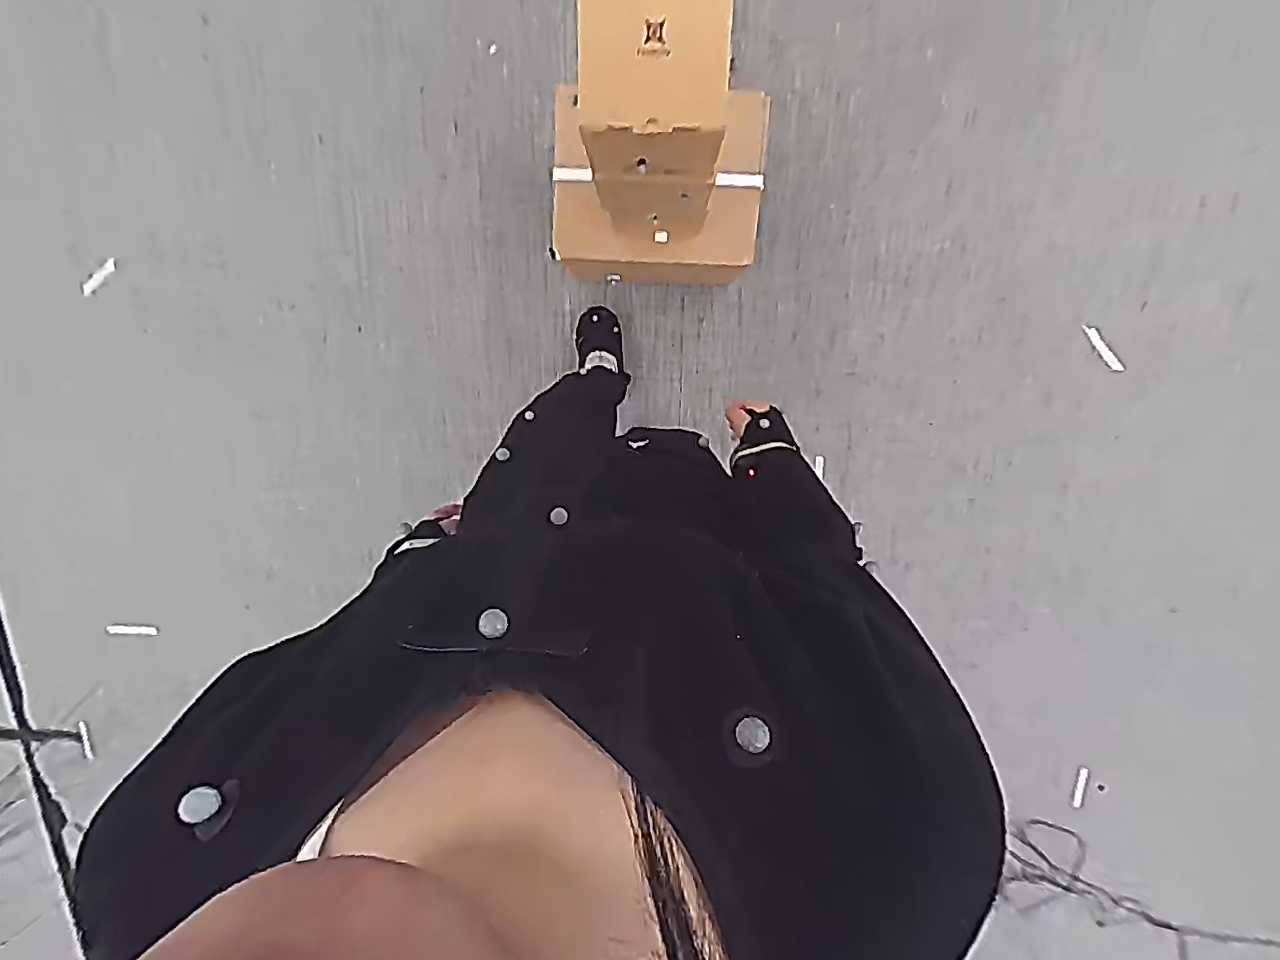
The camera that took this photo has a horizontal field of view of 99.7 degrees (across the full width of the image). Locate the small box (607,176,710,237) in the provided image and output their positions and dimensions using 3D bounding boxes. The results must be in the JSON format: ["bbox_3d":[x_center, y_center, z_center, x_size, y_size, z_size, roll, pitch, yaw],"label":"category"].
[{"bbox_3d":[0.033,-0.543,0.978,0.179,0.176,0.168,0,104,0],"label":"small box"}]

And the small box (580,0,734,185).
[{"bbox_3d":[0.017,-0.481,0.657,0.168,0.176,0.179,1,104,1],"label":"small box"}]
